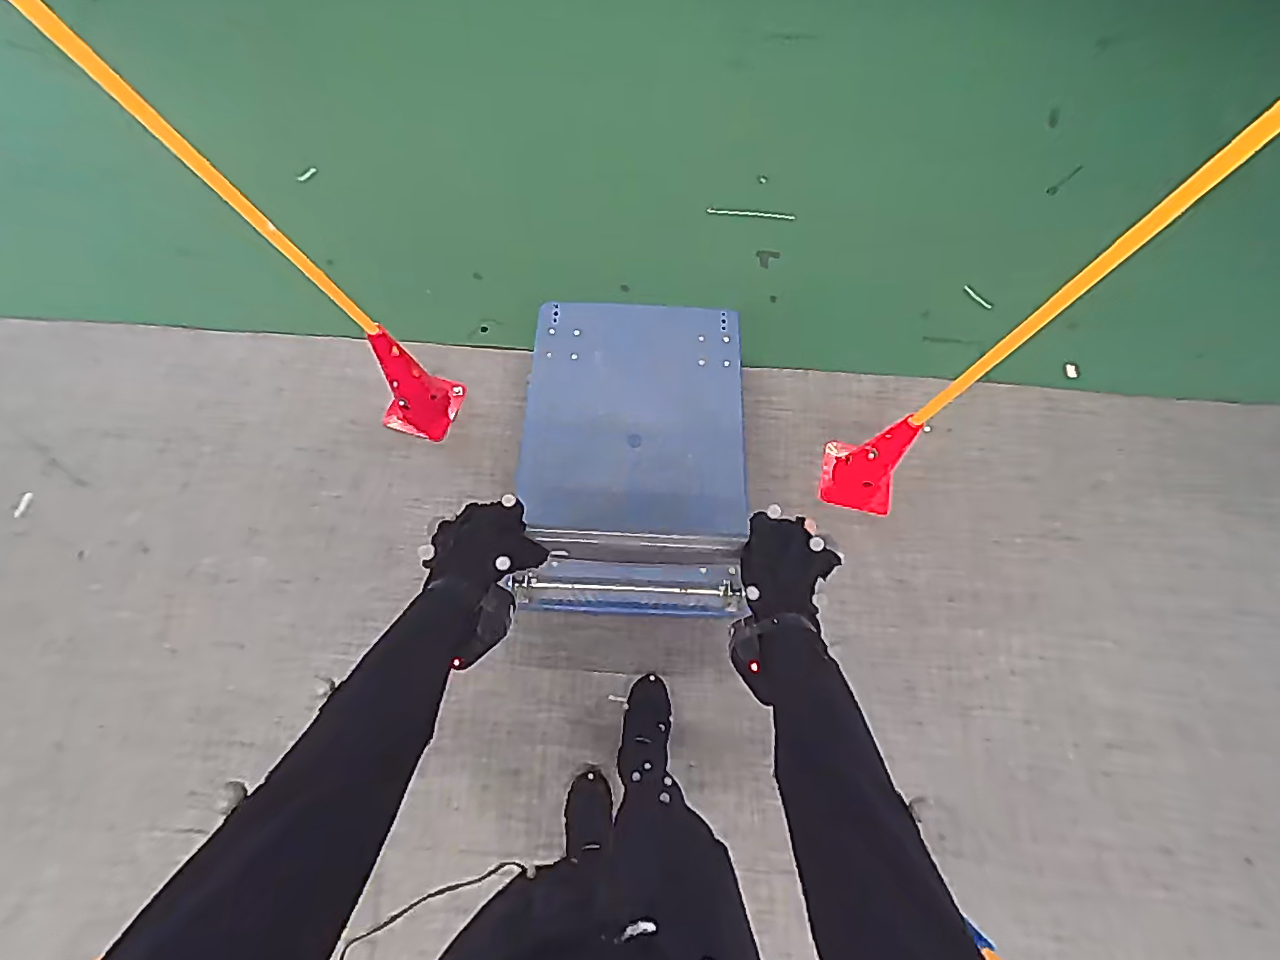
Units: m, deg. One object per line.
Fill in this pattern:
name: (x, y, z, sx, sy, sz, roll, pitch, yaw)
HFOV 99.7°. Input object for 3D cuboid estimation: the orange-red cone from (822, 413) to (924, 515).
orange-red cone: (0.632, -0.070, 1.397, 0.198, 0.360, 0.199, 14, 69, 5)
